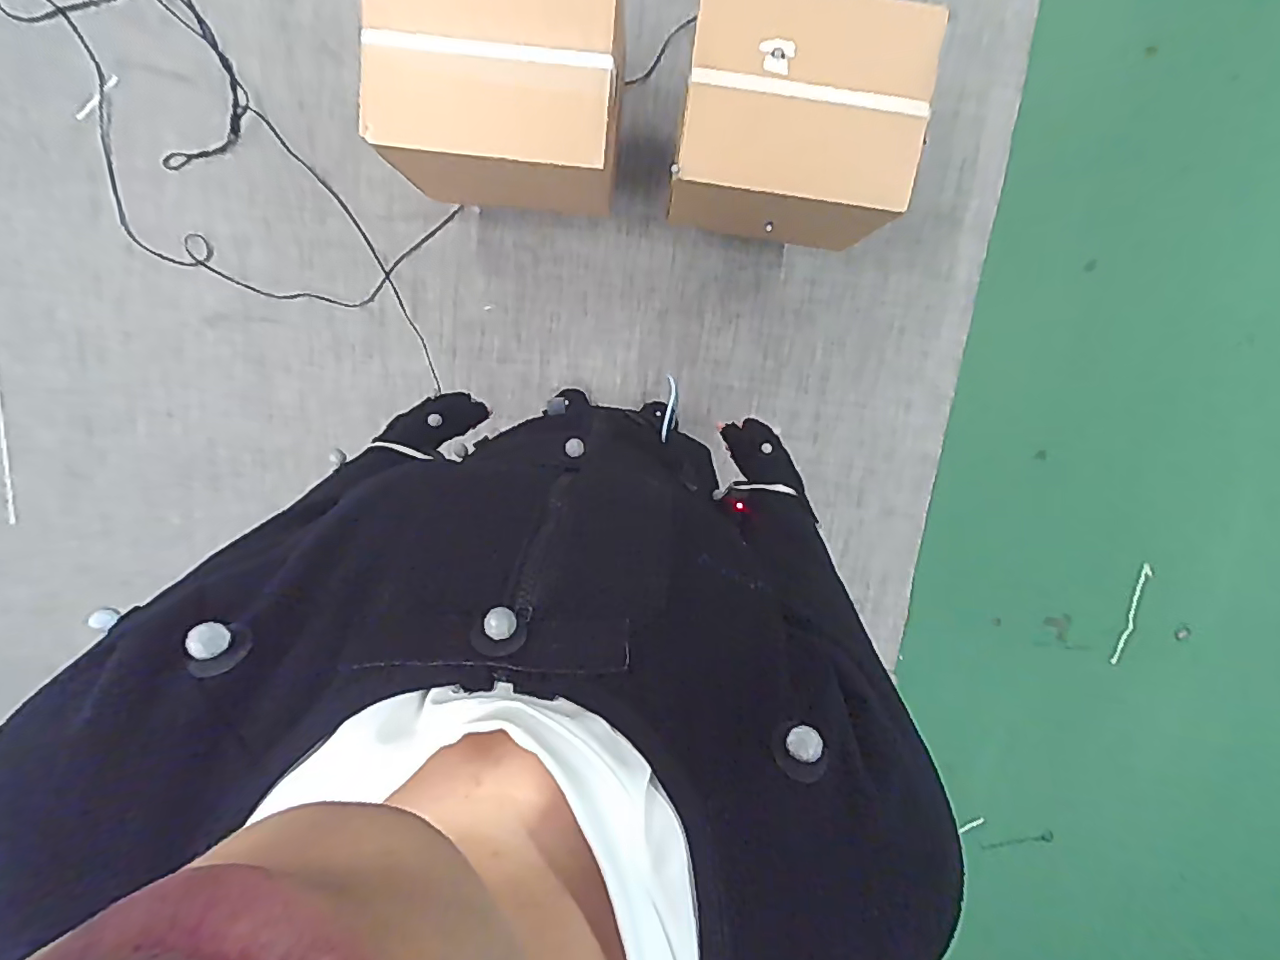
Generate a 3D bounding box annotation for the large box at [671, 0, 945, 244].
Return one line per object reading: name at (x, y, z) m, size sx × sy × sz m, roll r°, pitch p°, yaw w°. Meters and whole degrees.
large box at (0.287, -0.675, 1.054) m, size 0.408 × 0.320 × 0.320 m, roll 8°, pitch 101°, yaw -1°
